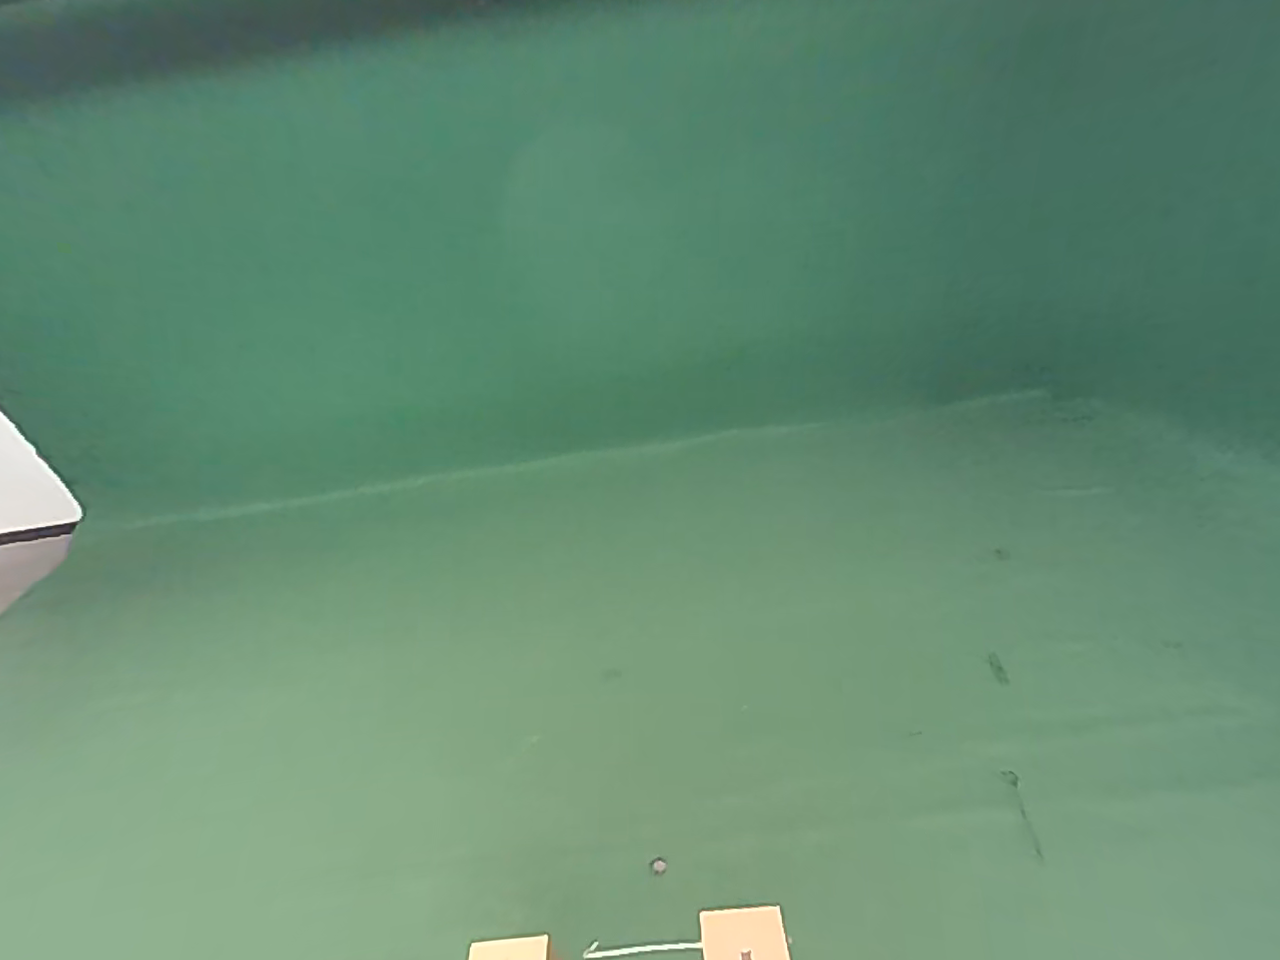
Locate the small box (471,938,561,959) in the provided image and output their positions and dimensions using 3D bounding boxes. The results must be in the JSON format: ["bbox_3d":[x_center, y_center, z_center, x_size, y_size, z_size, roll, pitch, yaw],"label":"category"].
[{"bbox_3d":[-0.248,1.064,1.086,0.168,0.176,0.179,-8,34,3],"label":"small box"}]

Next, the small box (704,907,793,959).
[{"bbox_3d":[0.220,0.988,1.072,0.168,0.176,0.179,-7,34,4],"label":"small box"}]
